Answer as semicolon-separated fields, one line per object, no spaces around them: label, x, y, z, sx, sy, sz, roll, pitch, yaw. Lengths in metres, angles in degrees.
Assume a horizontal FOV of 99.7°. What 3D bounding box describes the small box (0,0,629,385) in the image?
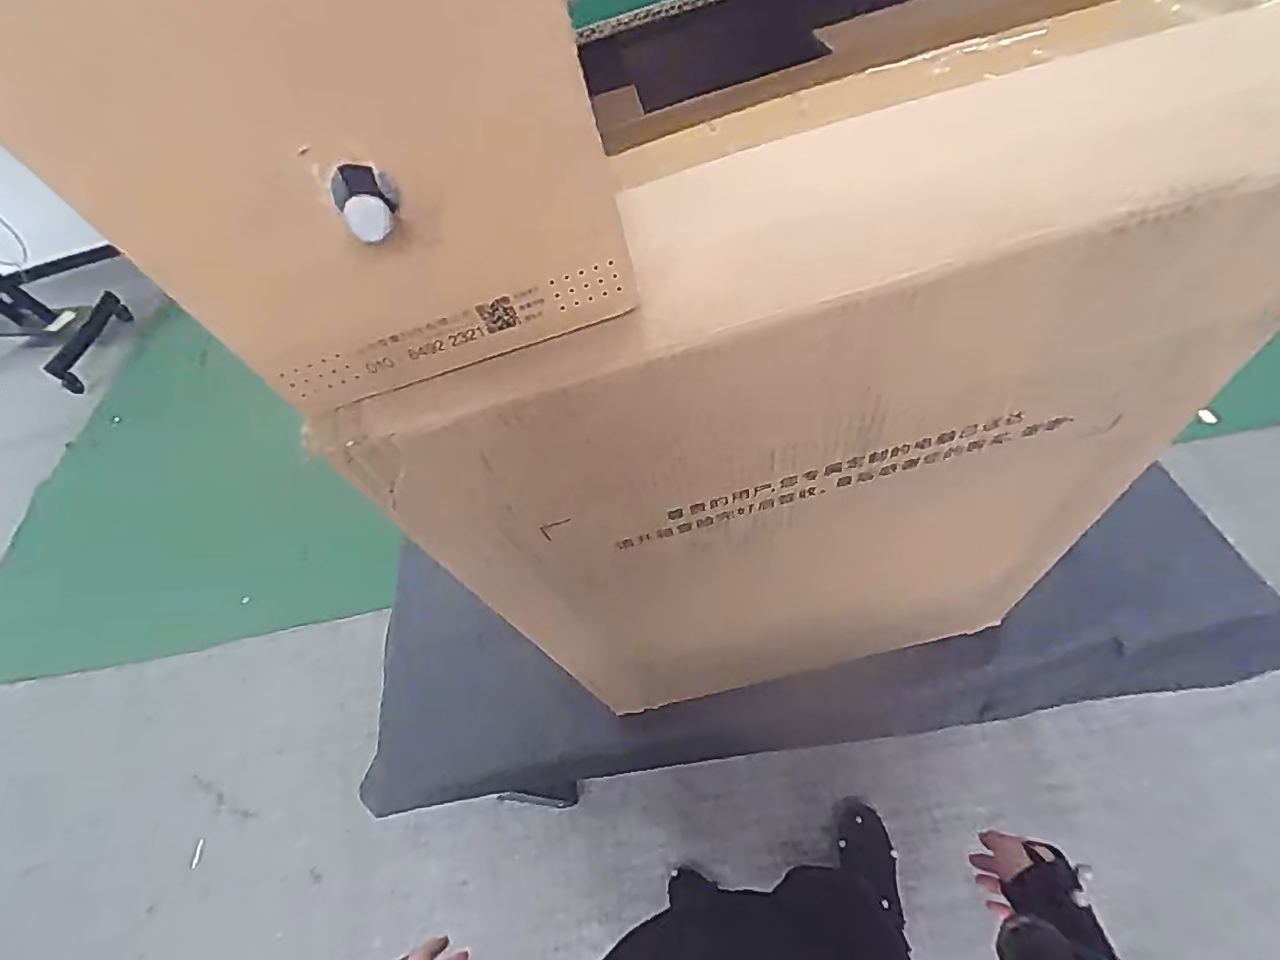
small box;-0.112;-0.162;0.229;0.168;0.176;0.179;-17;55;3
